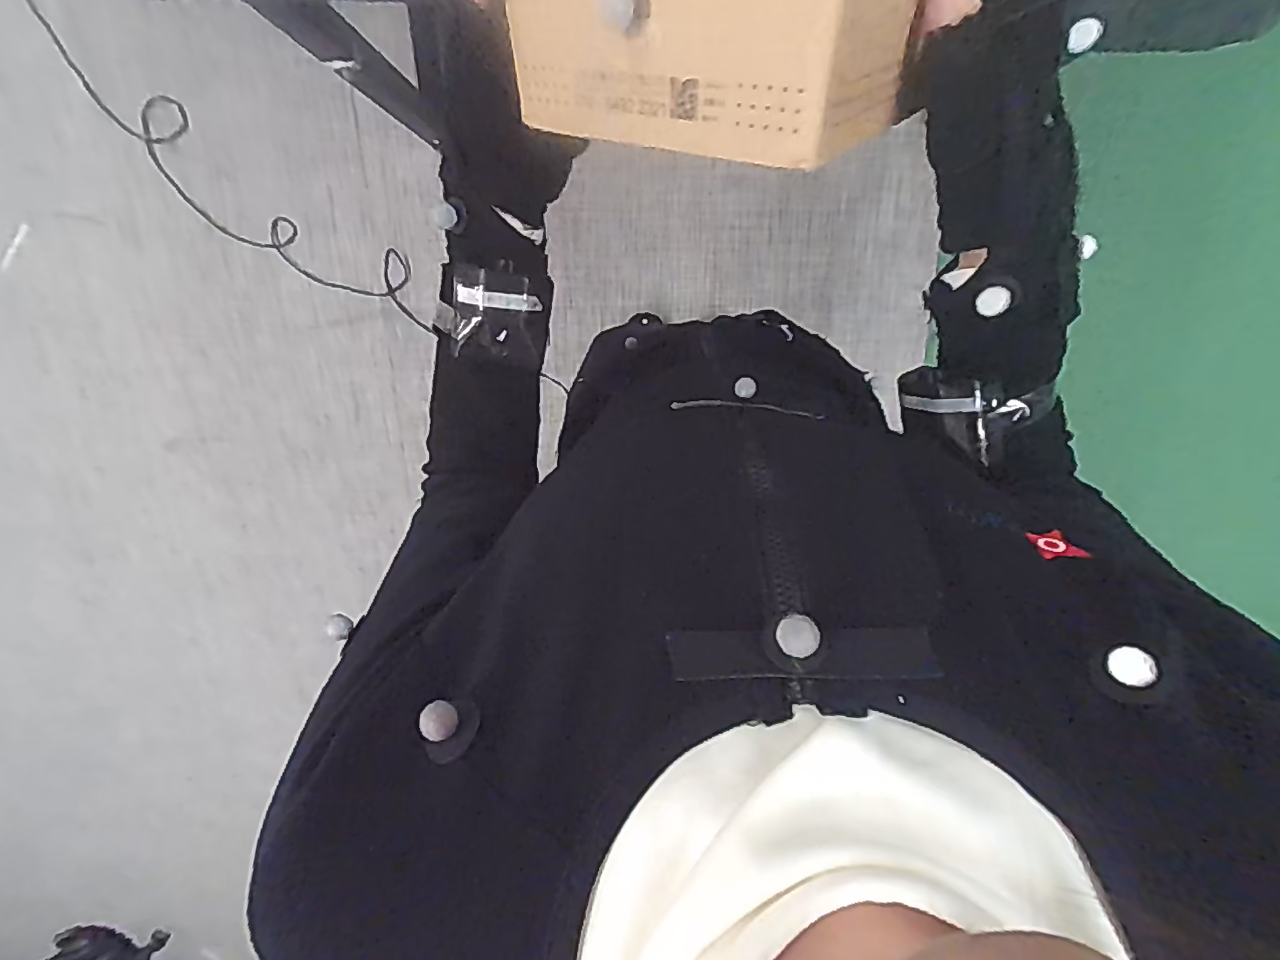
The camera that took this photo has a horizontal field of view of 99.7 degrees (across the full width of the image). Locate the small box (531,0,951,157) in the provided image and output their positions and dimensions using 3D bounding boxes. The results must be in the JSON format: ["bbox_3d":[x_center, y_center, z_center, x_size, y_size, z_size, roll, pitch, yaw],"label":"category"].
[{"bbox_3d":[0.054,-0.272,0.249,0.168,0.179,0.176,27,142,26],"label":"small box"}]
